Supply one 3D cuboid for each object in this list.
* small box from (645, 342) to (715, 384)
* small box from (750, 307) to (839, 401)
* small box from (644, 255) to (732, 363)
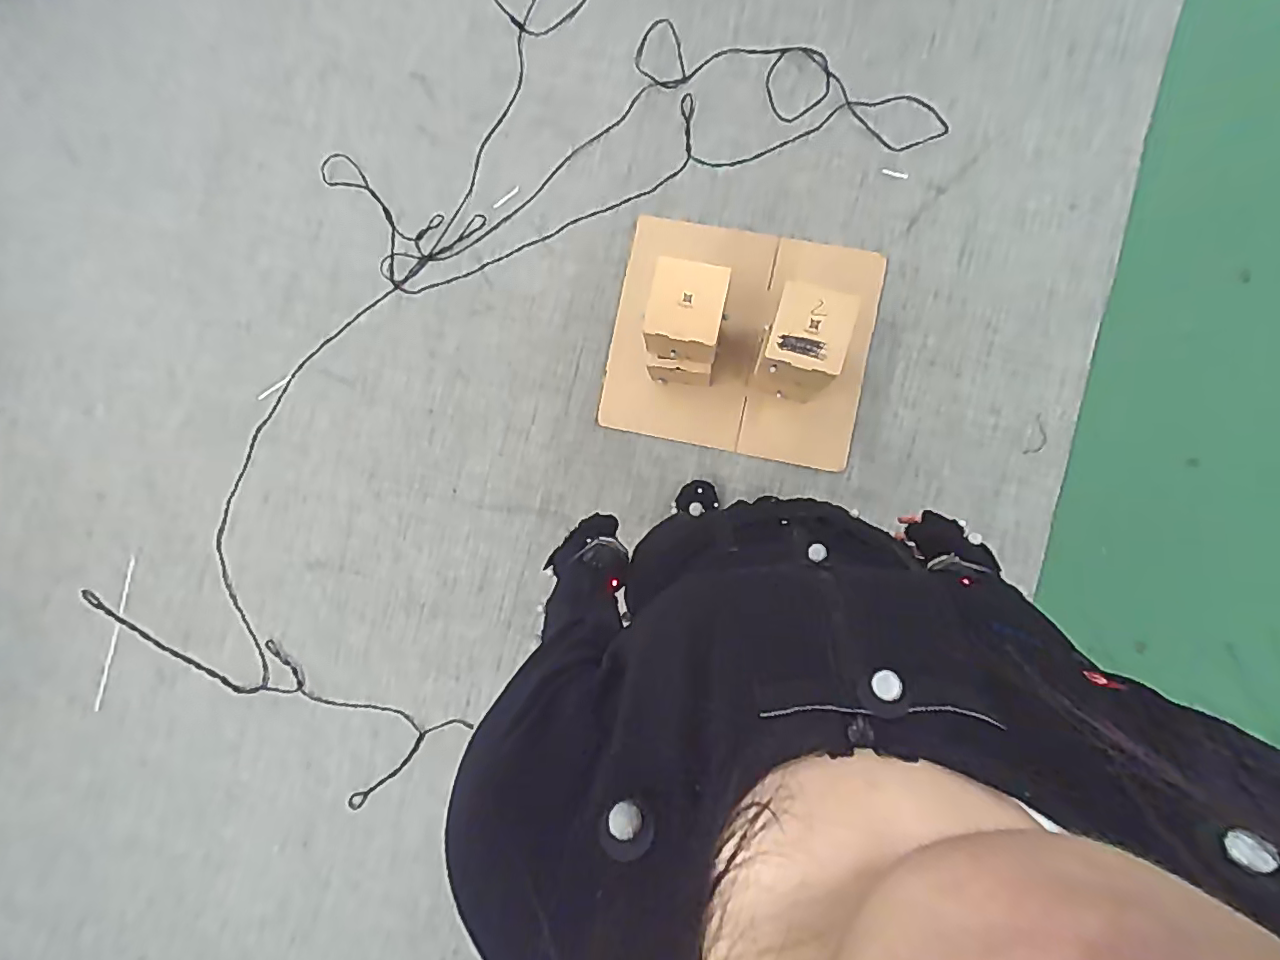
[{"bbox_3d":[0.115,-0.359,1.419,0.168,0.176,0.179,9,89,6],"label":"small box"},{"bbox_3d":[0.389,-0.318,1.395,0.168,0.176,0.179,16,90,7],"label":"small box"},{"bbox_3d":[0.110,-0.391,1.257,0.168,0.176,0.179,12,89,5],"label":"small box"}]
